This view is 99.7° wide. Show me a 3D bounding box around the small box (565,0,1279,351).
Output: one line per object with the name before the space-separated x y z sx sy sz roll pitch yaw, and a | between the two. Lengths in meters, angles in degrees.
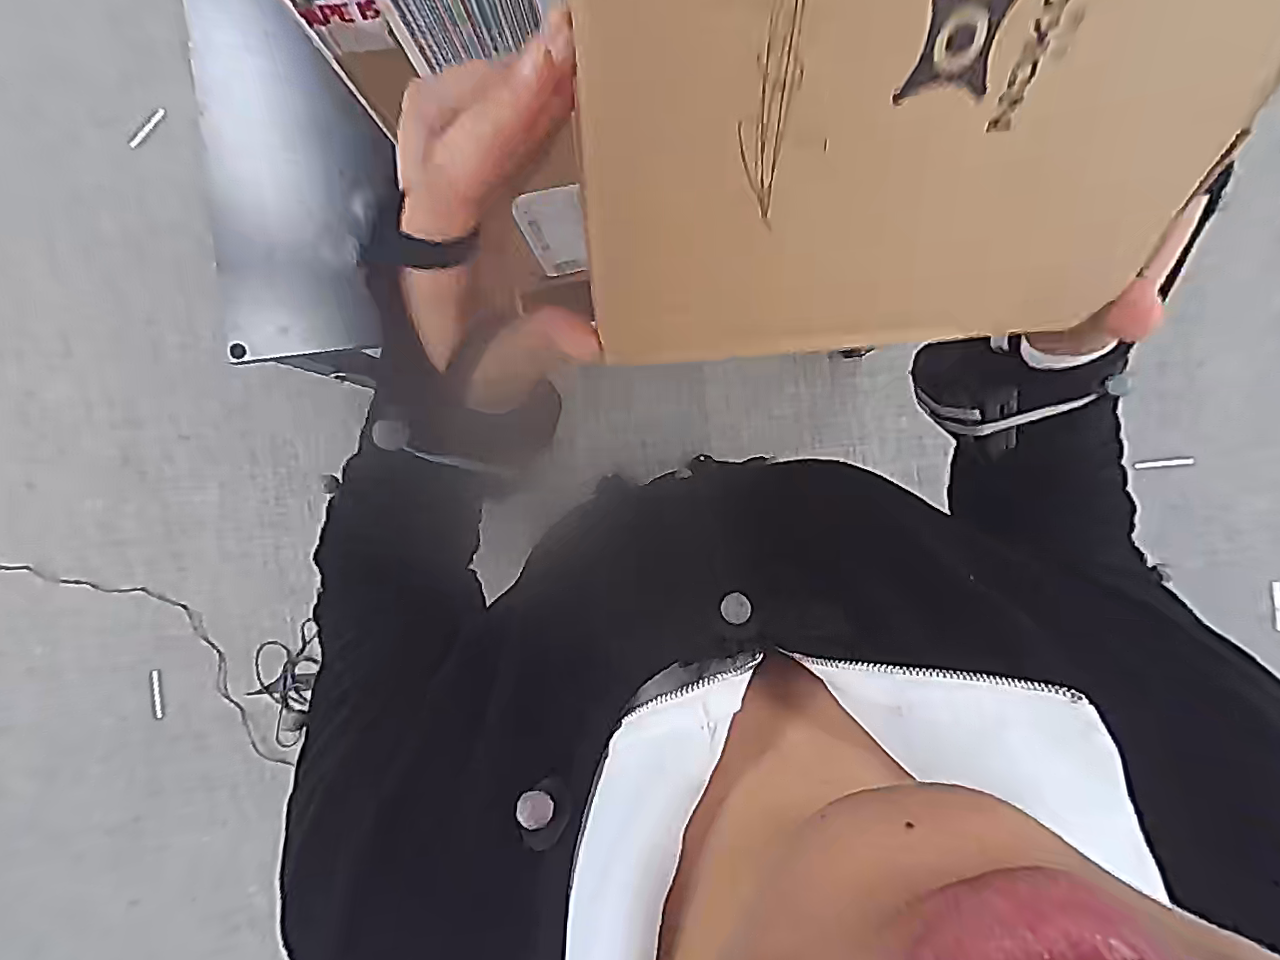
small box | 0.064 -0.165 0.176 0.179 0.168 0.176 -5 51 -3
